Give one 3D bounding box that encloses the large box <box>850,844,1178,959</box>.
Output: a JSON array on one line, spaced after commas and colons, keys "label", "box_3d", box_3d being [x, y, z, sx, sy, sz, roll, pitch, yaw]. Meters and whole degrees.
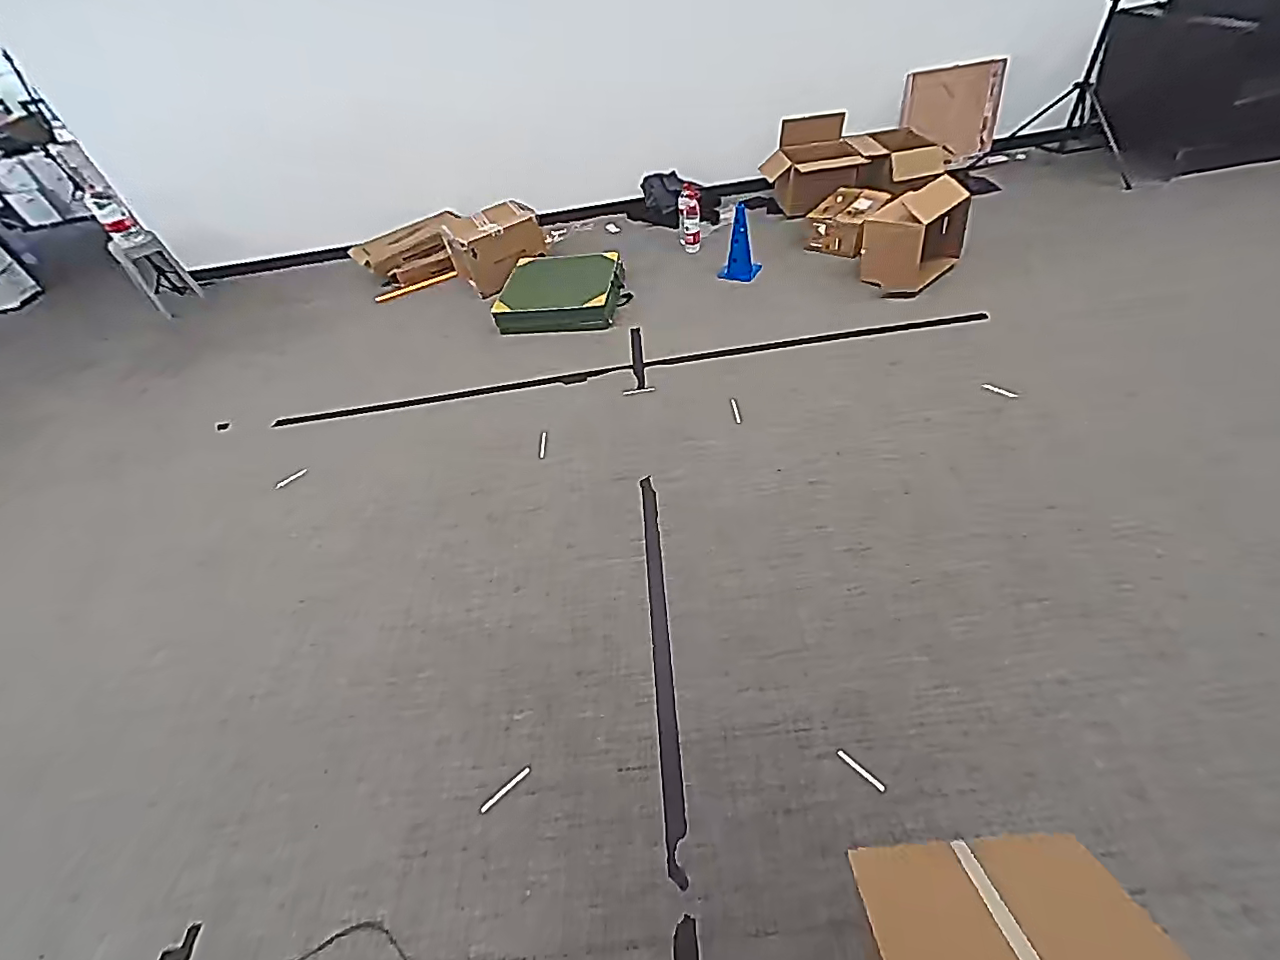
[{"label": "large box", "box_3d": [0.458, 0.695, 0.589, 0.320, 0.320, 0.408, -10, 3, 7]}]
